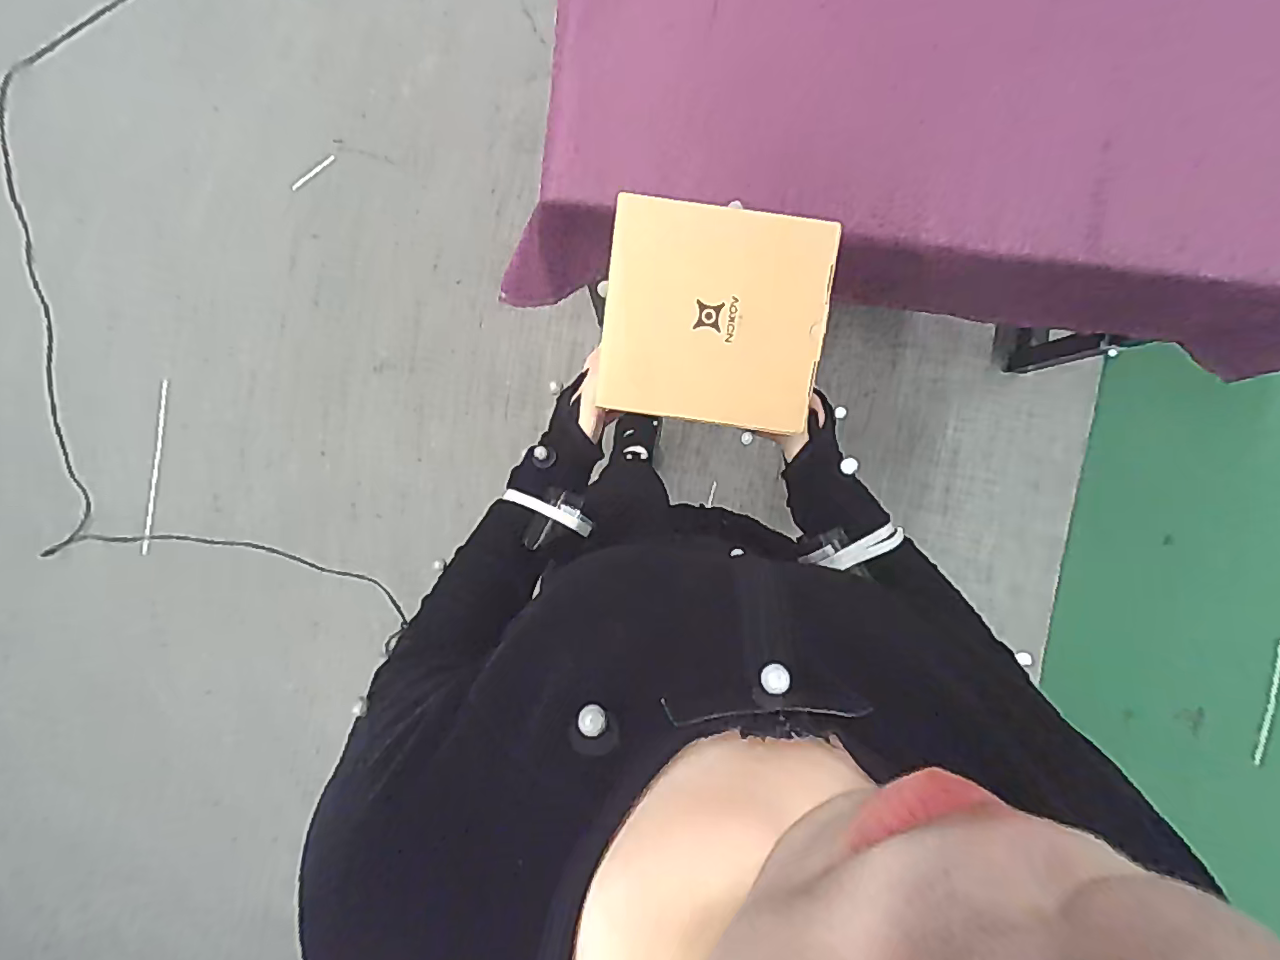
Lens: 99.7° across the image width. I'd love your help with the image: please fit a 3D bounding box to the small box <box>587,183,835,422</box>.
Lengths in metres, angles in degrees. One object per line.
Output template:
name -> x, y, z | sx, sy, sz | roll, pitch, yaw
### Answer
small box -> 0.055, -0.149, 0.505 | 0.179, 0.176, 0.168 | 8, 99, -1
